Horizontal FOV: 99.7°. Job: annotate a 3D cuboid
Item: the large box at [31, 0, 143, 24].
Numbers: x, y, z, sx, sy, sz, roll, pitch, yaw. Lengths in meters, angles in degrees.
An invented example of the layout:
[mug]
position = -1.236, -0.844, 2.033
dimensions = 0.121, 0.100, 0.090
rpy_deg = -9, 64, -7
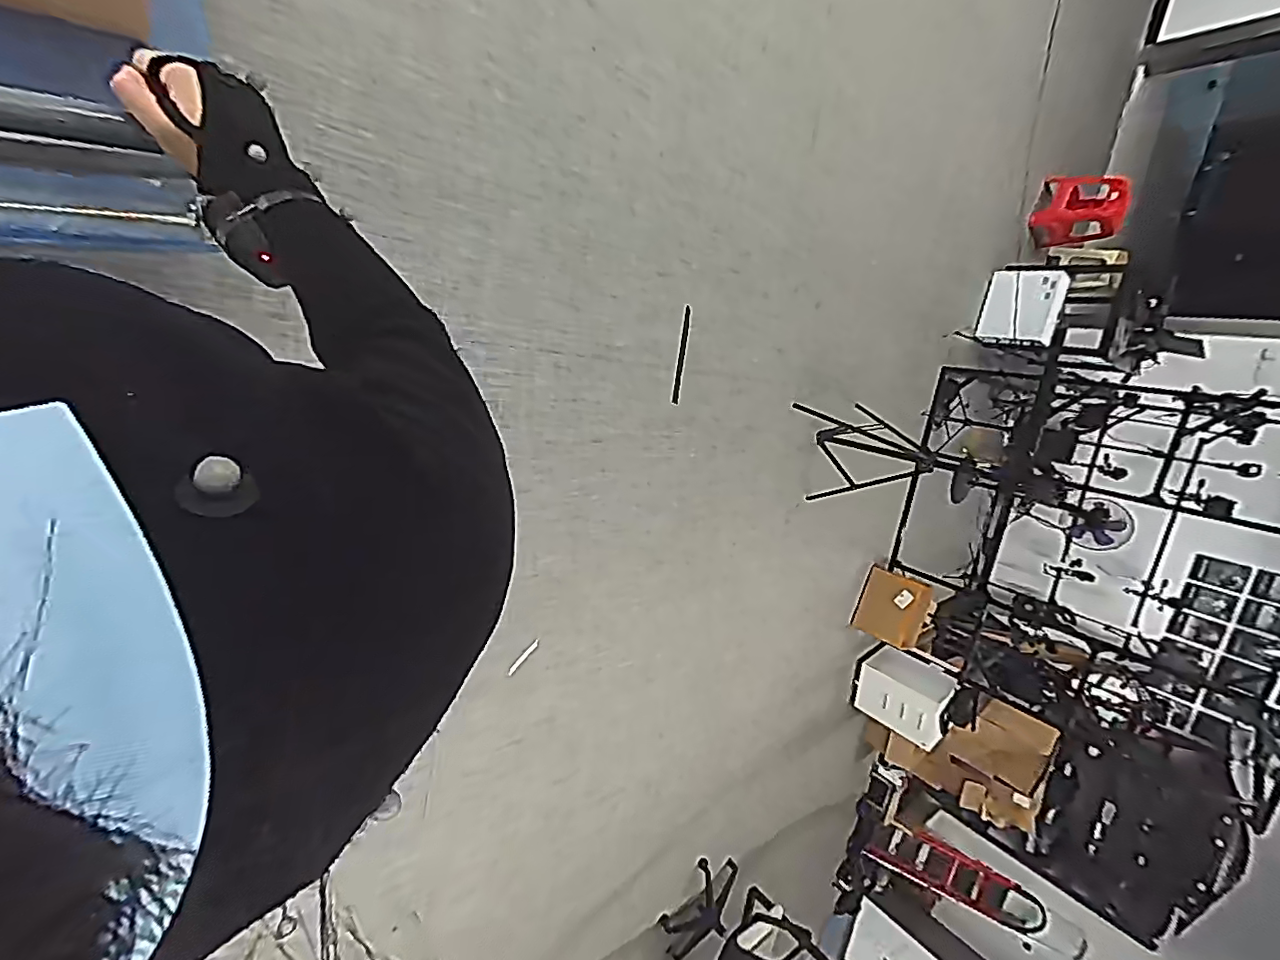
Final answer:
[large box]
position = -0.856, -0.792, 0.596
dimensions = 0.408, 0.320, 0.320
rpy_deg = -13, 114, -38
